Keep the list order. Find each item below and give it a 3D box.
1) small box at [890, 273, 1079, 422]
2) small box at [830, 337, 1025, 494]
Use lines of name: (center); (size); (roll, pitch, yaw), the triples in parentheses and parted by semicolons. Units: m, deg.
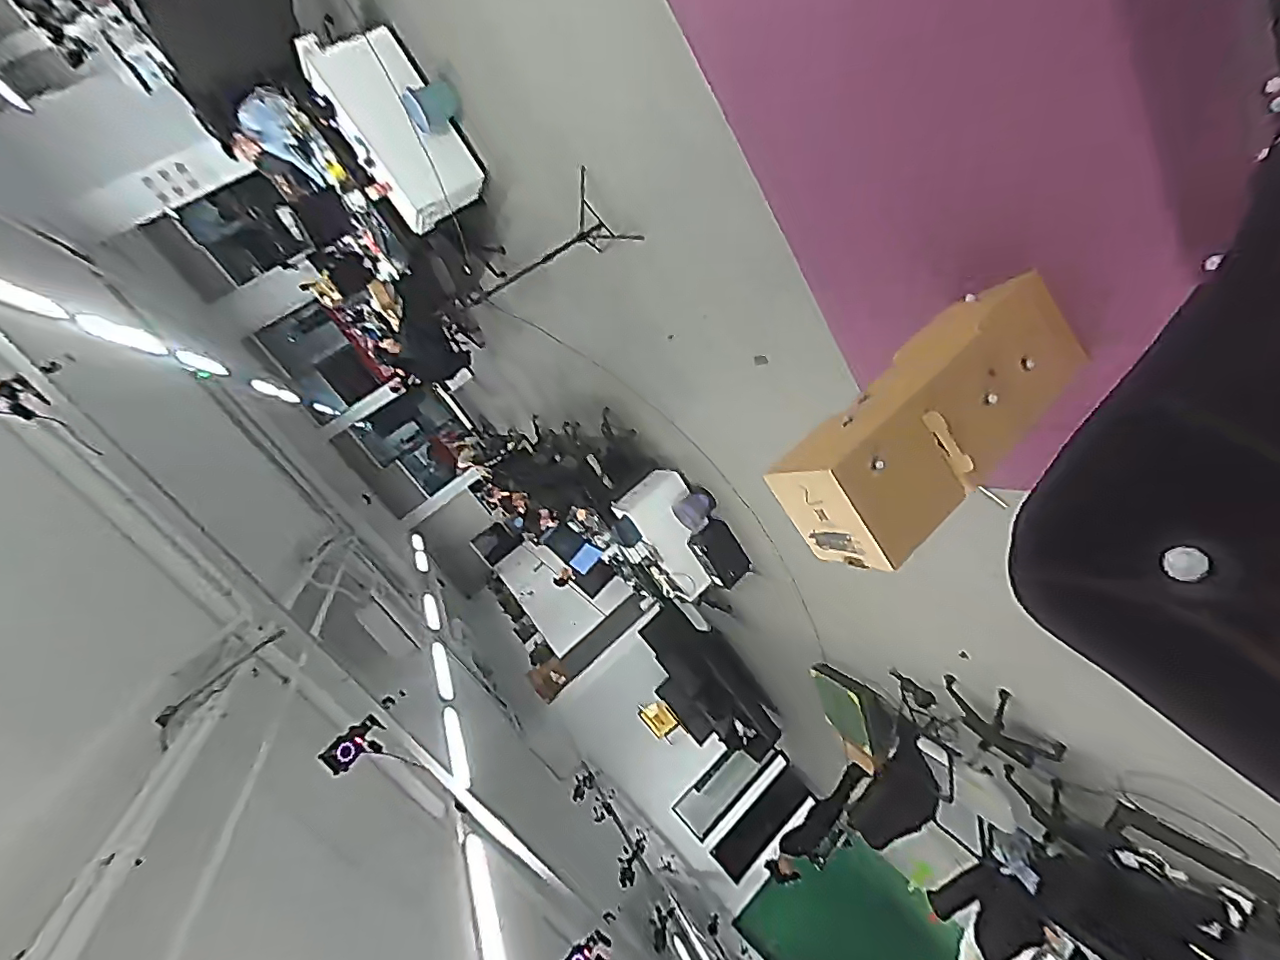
small box: (0.567, -0.202, 0.893); (0.179, 0.176, 0.168); (54, 163, -8)
small box: (0.449, -0.094, 0.854); (0.168, 0.176, 0.179); (52, 164, -7)
